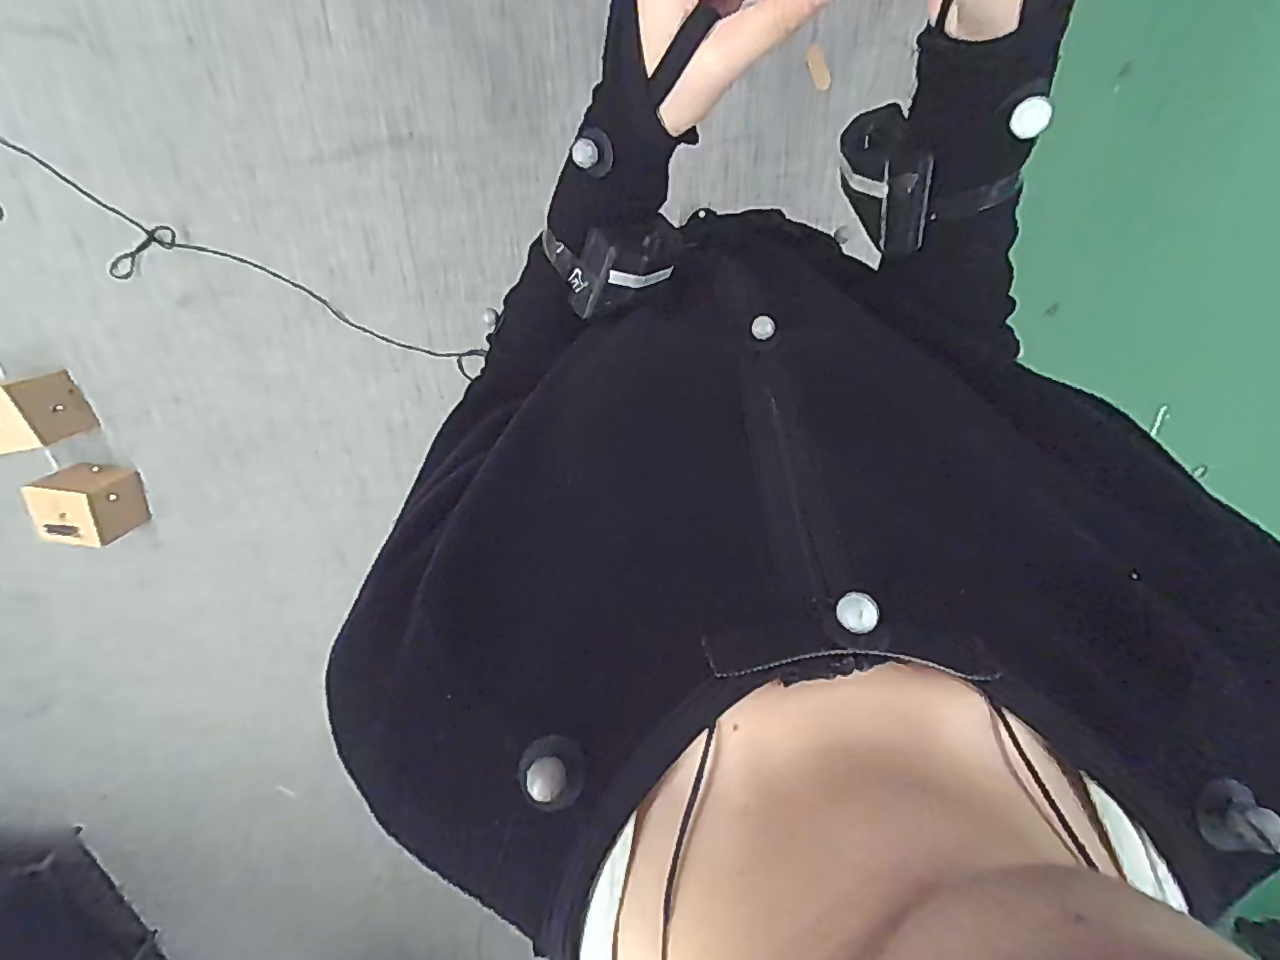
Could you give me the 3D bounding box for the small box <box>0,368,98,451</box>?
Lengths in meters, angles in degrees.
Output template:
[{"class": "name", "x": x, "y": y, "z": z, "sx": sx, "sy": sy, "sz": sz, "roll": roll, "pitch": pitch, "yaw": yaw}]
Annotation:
[{"class": "small box", "x": -1.610, "y": -0.191, "z": 1.434, "sx": 0.179, "sy": 0.176, "sz": 0.168, "roll": -7, "pitch": 115, "yaw": 5}]
